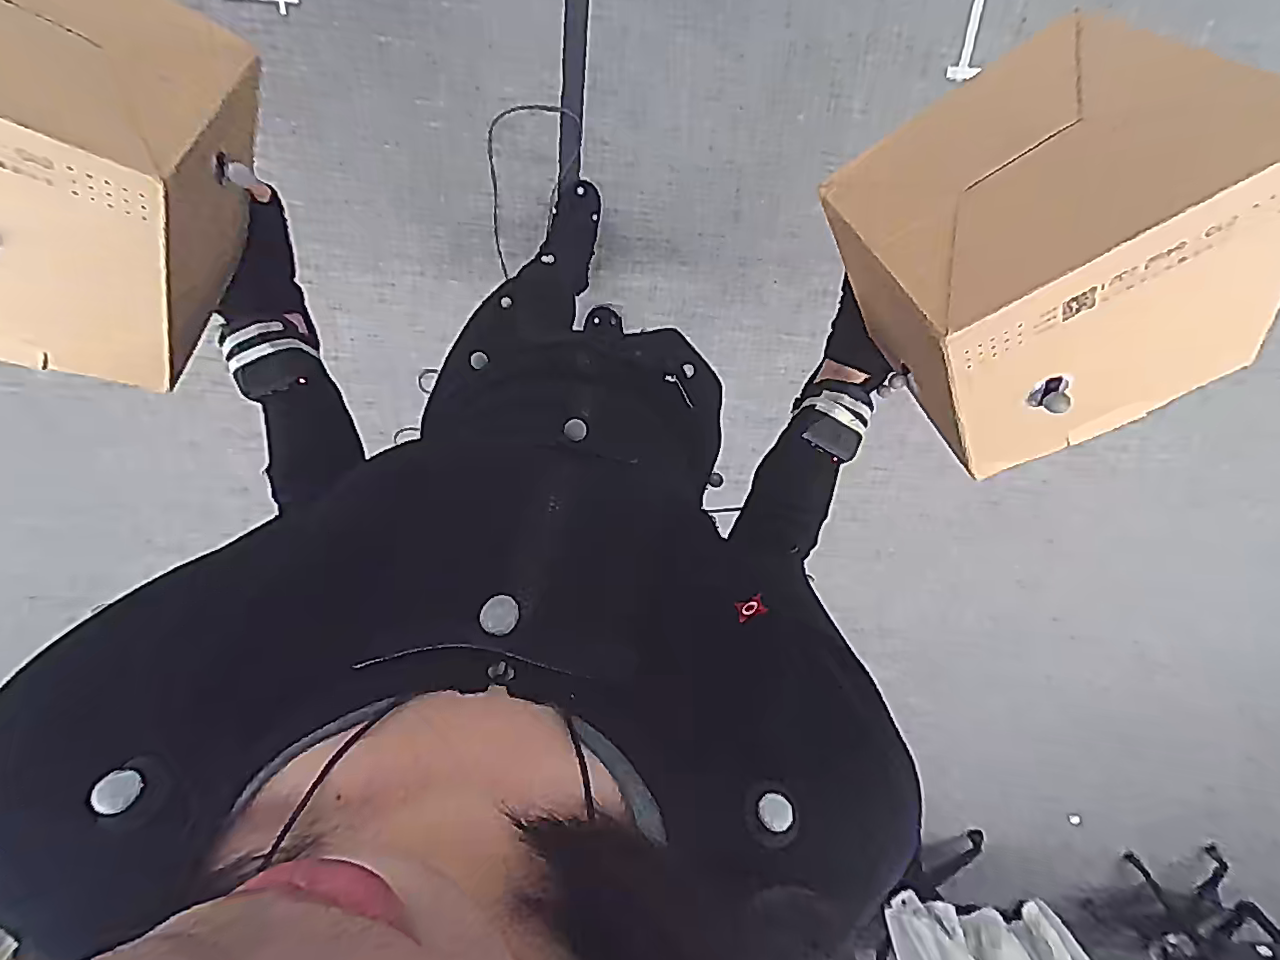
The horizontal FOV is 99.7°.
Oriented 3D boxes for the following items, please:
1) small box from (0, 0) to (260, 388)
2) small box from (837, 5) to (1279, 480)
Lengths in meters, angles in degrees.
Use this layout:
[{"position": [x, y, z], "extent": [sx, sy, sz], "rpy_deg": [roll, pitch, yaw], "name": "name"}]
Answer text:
[{"position": [-0.345, -0.191, 0.313], "extent": [0.168, 0.179, 0.176], "rpy_deg": [17, 138, -30], "name": "small box"}, {"position": [0.245, -0.137, 0.338], "extent": [0.168, 0.179, 0.176], "rpy_deg": [-27, 140, 18], "name": "small box"}]
